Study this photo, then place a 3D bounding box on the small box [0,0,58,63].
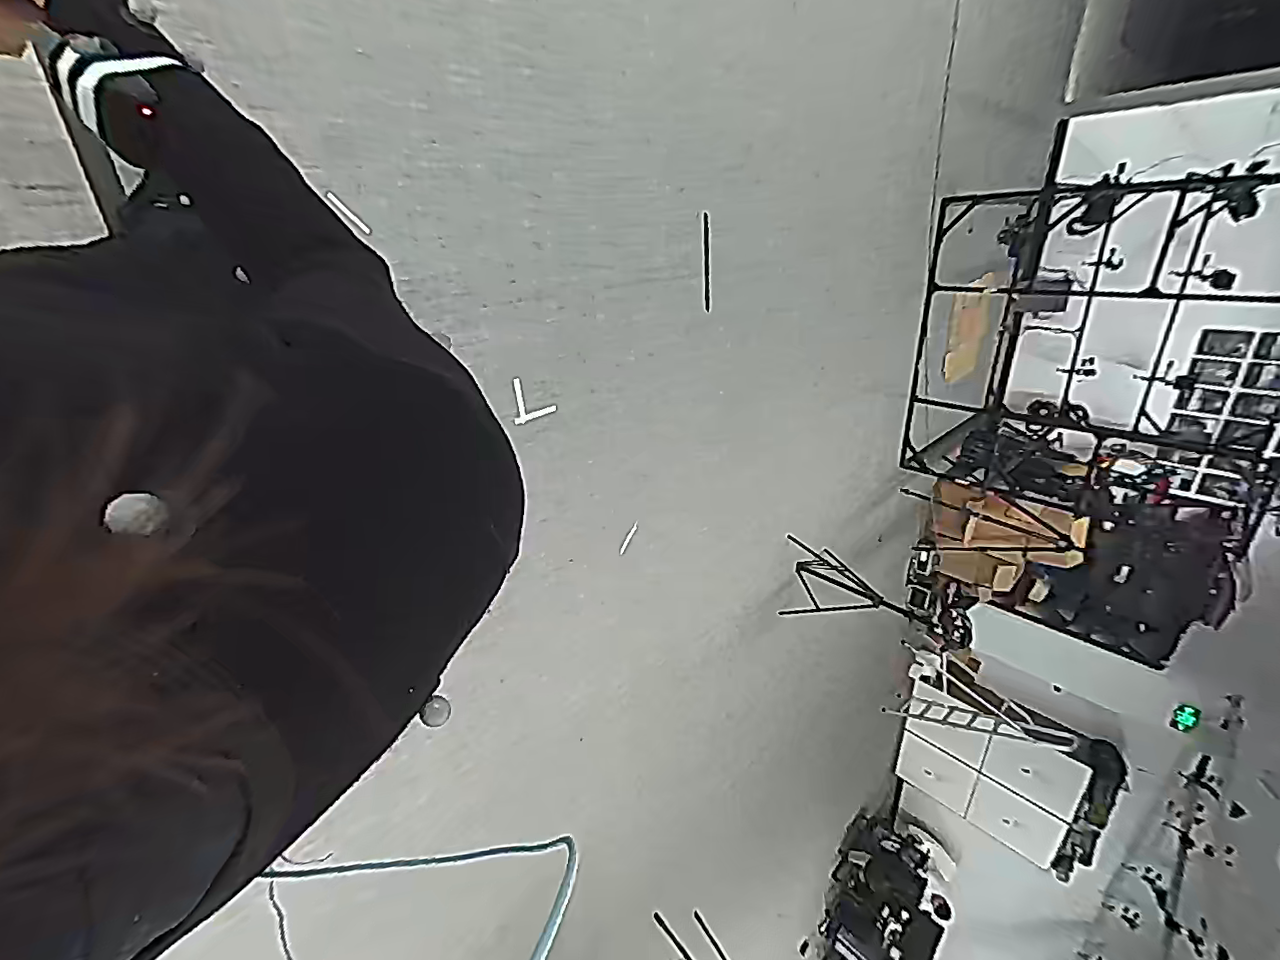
[{"bbox_3d":[-0.564,-0.428,0.368,0.168,0.176,0.179,-35,123,-46],"label":"small box"}]
